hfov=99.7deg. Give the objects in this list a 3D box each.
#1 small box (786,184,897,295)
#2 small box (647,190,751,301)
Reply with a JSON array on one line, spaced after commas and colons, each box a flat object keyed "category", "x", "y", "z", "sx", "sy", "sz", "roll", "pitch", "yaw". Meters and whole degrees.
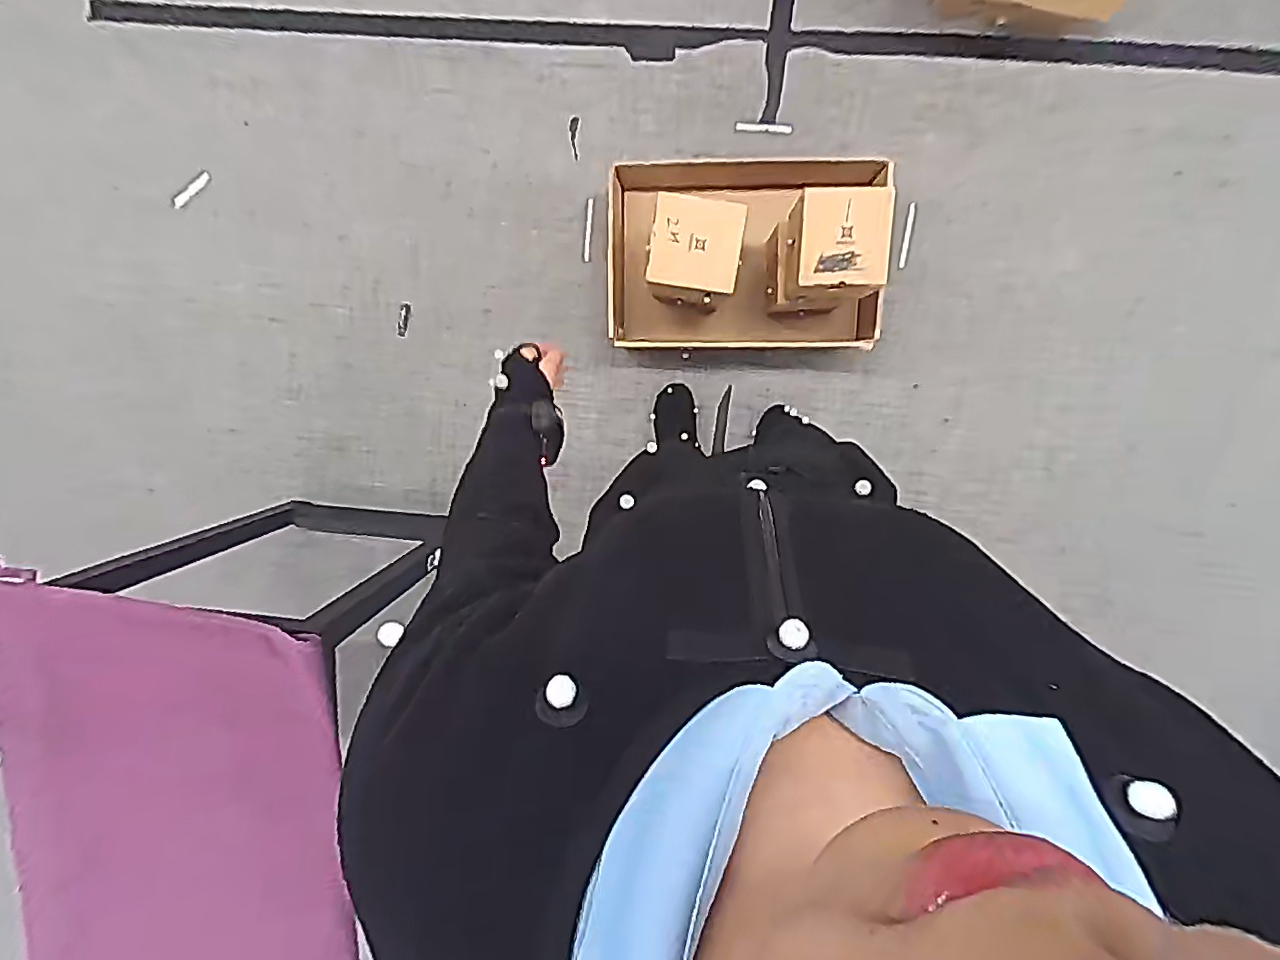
[{"category": "small box", "x": 0.393, "y": -0.471, "z": 1.084, "sx": 0.168, "sy": 0.176, "sz": 0.179, "roll": 2, "pitch": 100, "yaw": 5}, {"category": "small box", "x": 0.114, "y": -0.470, "z": 1.108, "sx": 0.179, "sy": 0.176, "sz": 0.168, "roll": 9, "pitch": 101, "yaw": 1}]
